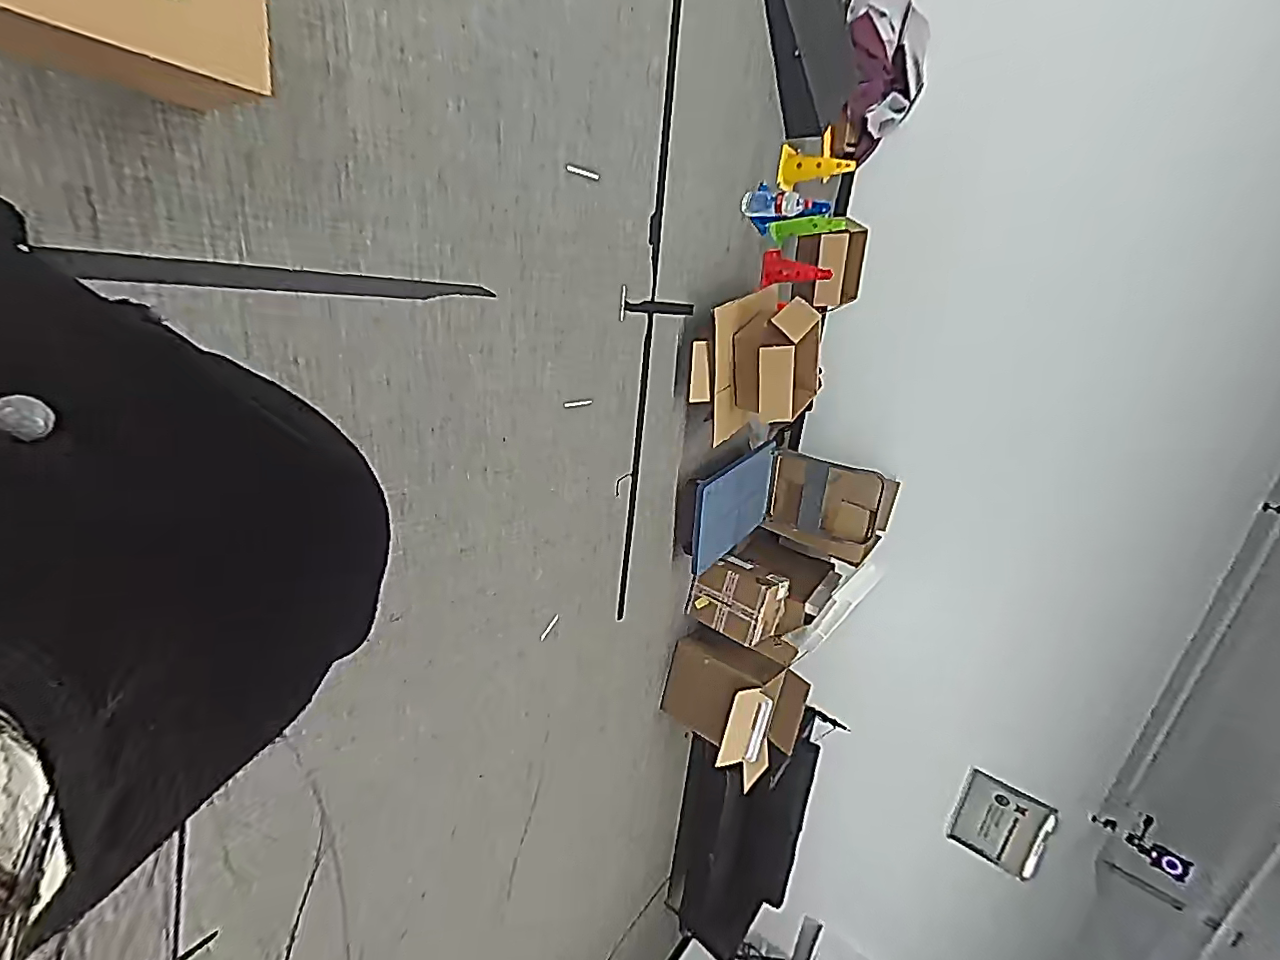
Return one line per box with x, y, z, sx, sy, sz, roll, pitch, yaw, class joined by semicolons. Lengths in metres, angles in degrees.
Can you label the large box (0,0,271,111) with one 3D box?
-0.838;-0.791;0.785;0.408;0.320;0.320;-17;120;-52;large box
